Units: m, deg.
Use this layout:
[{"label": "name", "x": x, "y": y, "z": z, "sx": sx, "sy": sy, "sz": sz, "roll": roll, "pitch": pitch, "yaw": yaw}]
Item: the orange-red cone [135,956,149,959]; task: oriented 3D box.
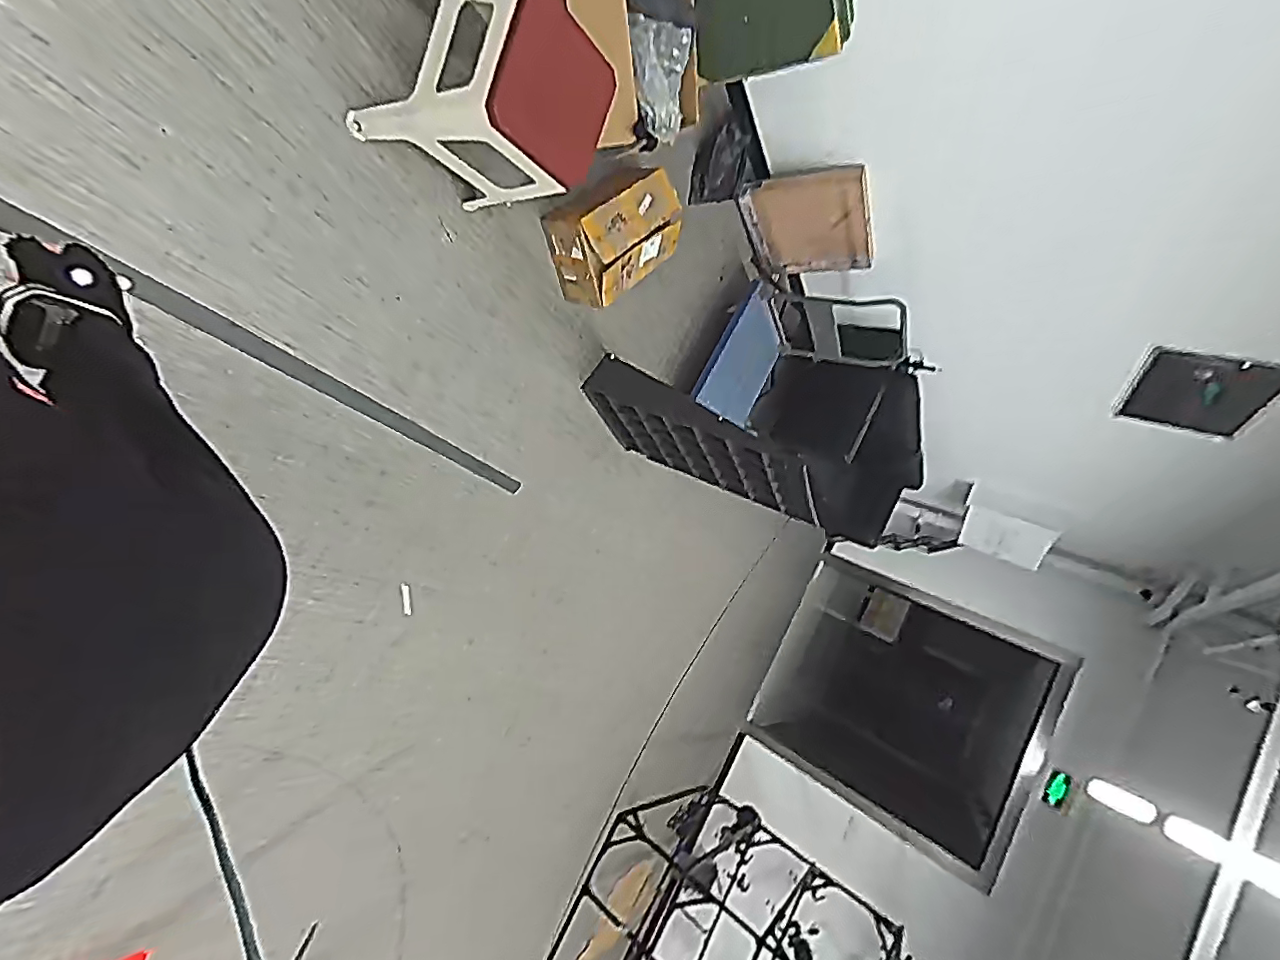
[{"label": "orange-red cone", "x": -1.367, "y": 1.487, "z": 1.388, "sx": 0.198, "sy": 0.360, "sz": 0.199, "roll": 32, "pitch": 81, "yaw": -57}]
